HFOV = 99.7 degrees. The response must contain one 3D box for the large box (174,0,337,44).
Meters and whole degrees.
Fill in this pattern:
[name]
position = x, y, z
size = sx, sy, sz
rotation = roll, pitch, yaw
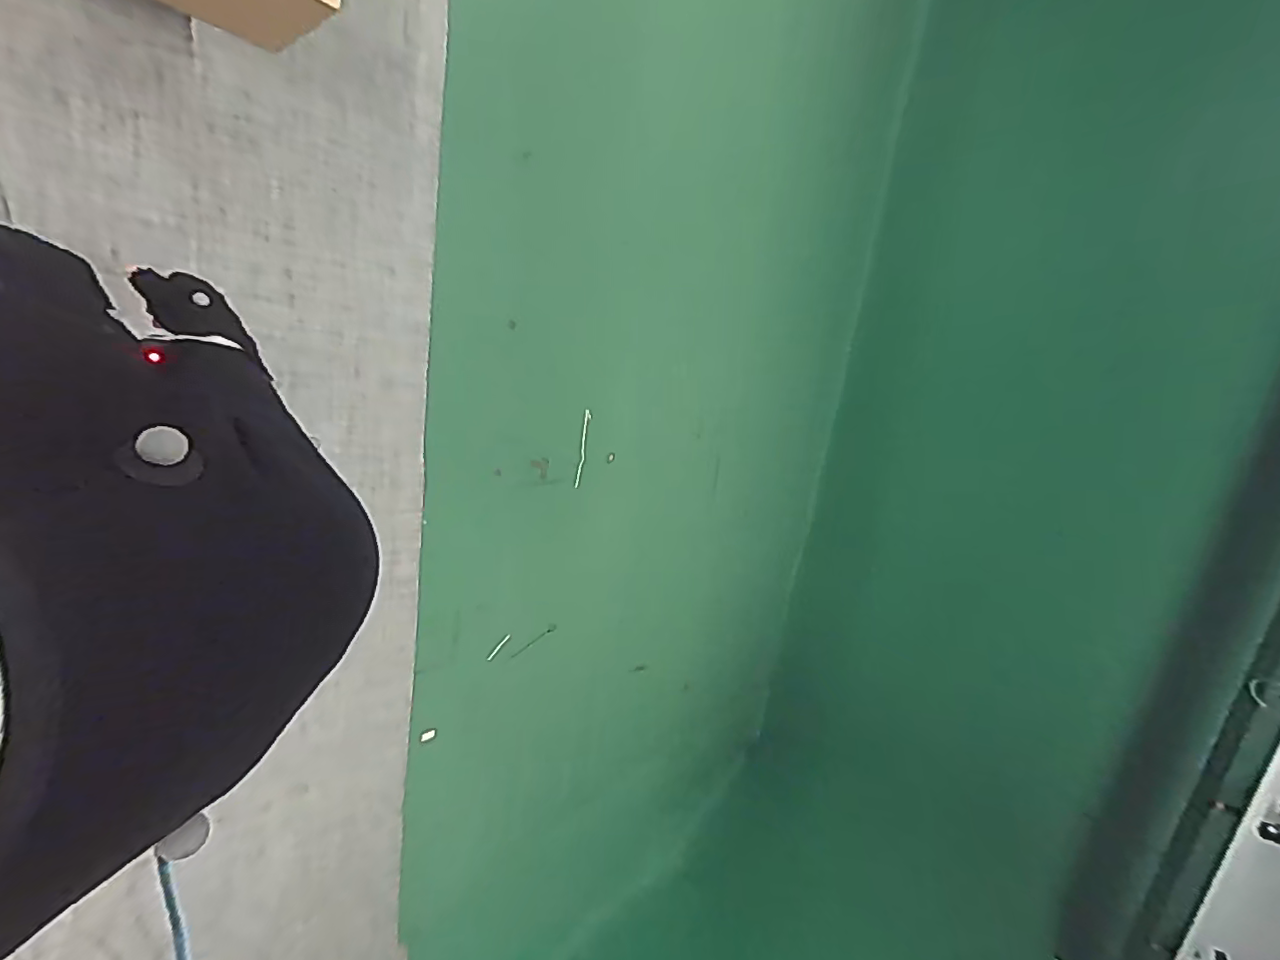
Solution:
[large box]
position = -0.687, -0.910, 0.753
size = 0.408, 0.320, 0.320
rotation = -5, 109, -49
